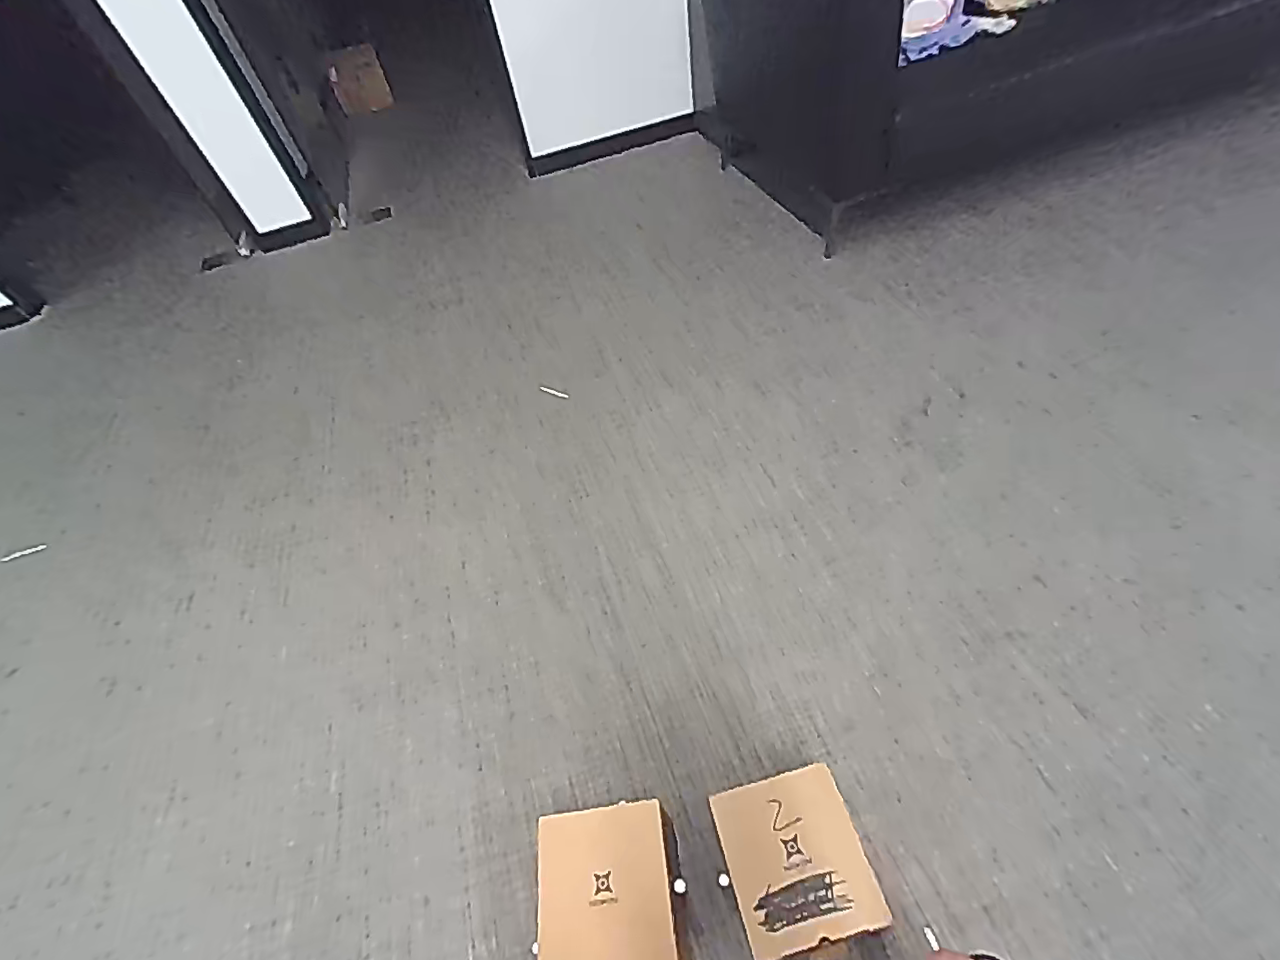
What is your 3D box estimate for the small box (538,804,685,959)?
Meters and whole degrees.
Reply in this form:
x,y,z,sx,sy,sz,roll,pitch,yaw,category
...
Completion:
x,y,z,sx,sy,sz,roll,pitch,yaw,category
-0.036,0.561,0.731,0.168,0.176,0.179,-10,51,2,small box
